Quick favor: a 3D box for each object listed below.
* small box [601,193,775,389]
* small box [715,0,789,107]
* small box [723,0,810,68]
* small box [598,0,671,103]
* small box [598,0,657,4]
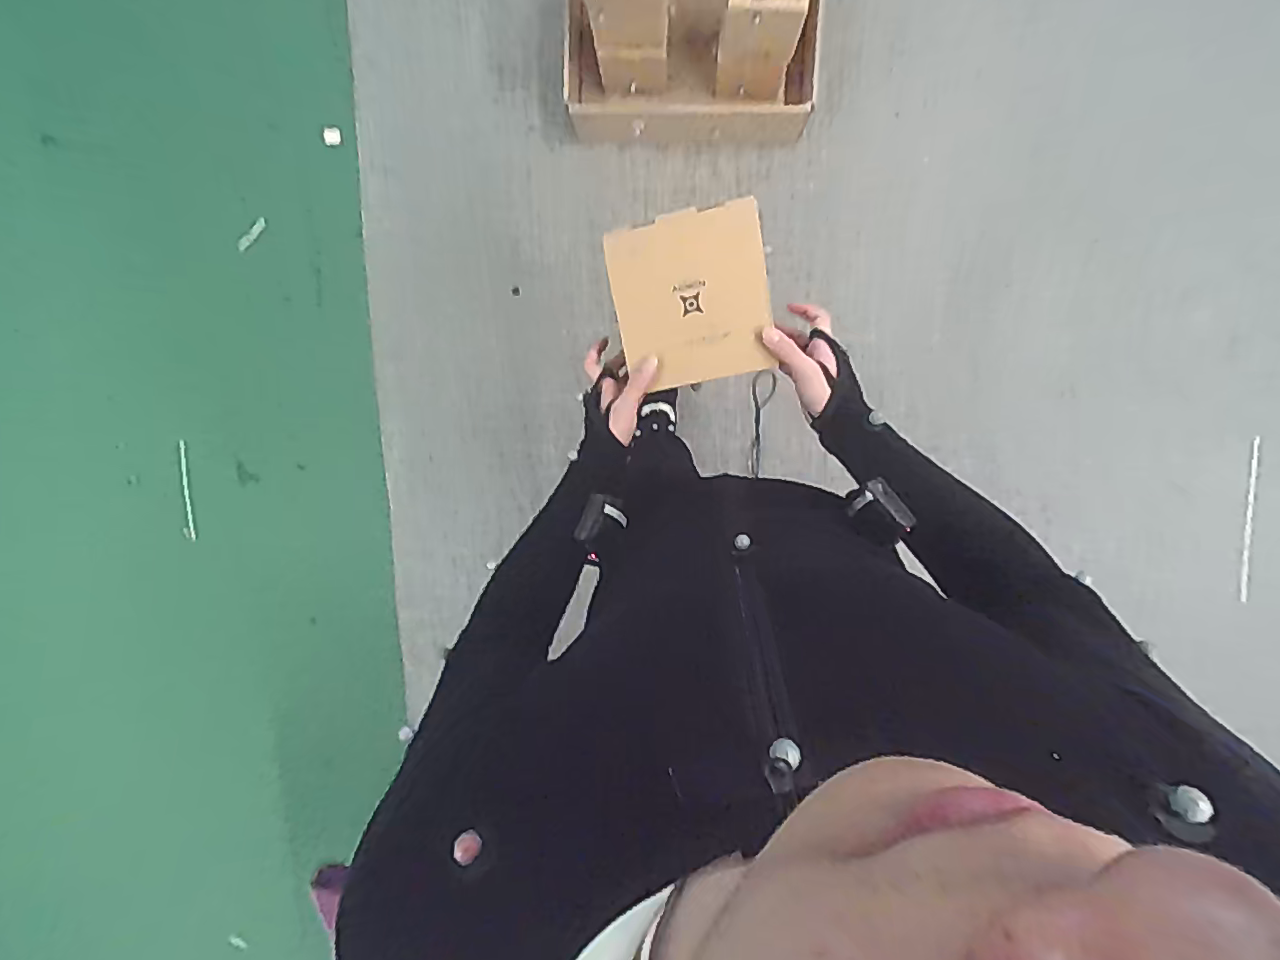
[{"bbox_3d":[0.063,-0.212,0.650,0.168,0.176,0.179,-9,101,12],"label":"small box"},{"bbox_3d":[0.279,-1.070,1.341,0.168,0.176,0.179,4,97,3],"label":"small box"},{"bbox_3d":[0.276,-1.050,1.178,0.168,0.176,0.179,5,96,3],"label":"small box"},{"bbox_3d":[-0.010,-1.091,1.357,0.168,0.176,0.179,3,95,3],"label":"small box"},{"bbox_3d":[-0.039,-1.060,1.031,0.168,0.176,0.179,3,94,3],"label":"small box"}]
